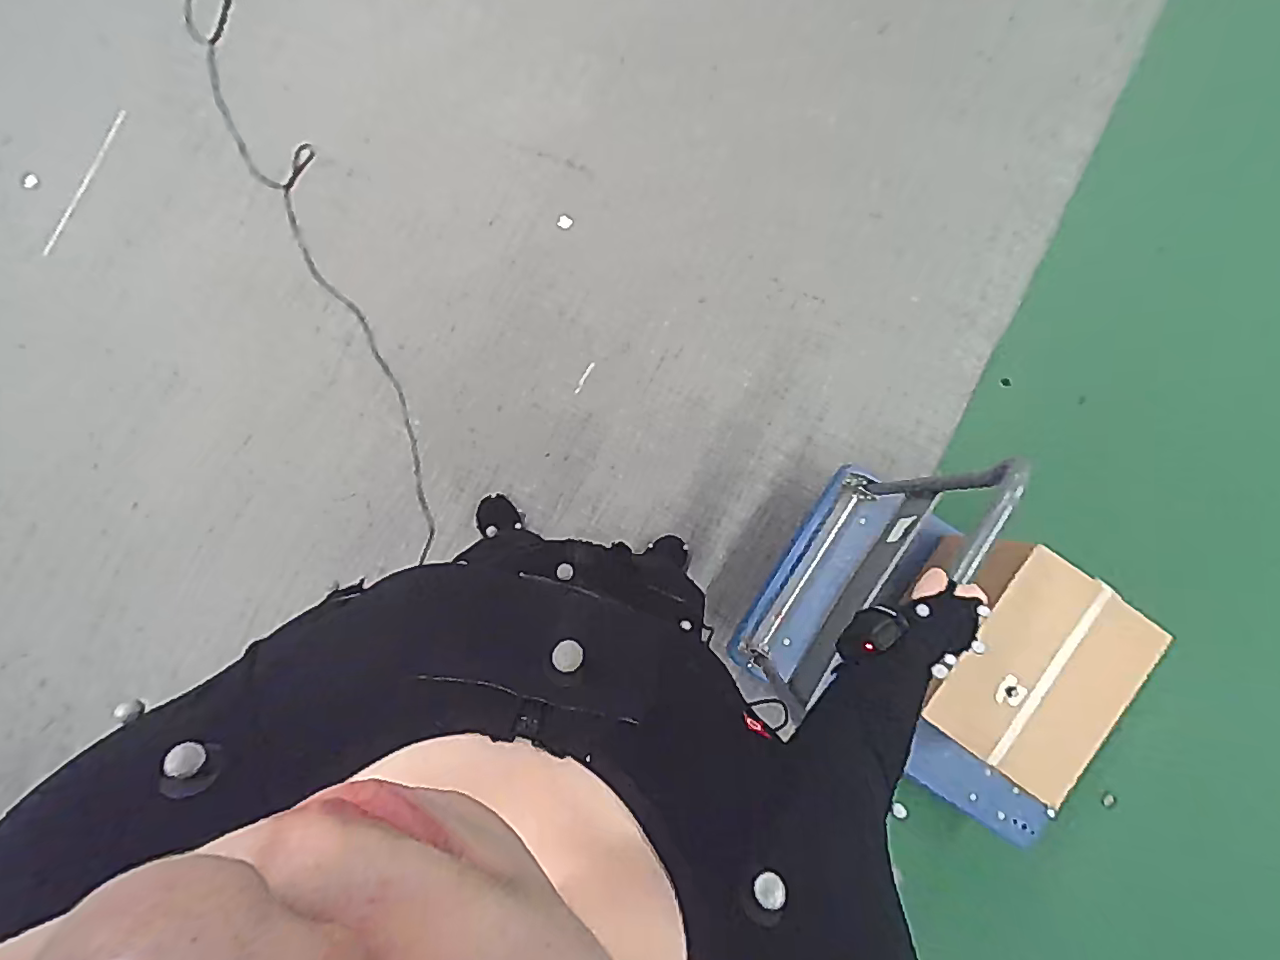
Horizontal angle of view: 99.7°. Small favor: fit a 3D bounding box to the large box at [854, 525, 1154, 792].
[{"bbox_3d":[0.760,0.354,1.189,0.320,0.320,0.408,36,89,1],"label":"large box"}]
